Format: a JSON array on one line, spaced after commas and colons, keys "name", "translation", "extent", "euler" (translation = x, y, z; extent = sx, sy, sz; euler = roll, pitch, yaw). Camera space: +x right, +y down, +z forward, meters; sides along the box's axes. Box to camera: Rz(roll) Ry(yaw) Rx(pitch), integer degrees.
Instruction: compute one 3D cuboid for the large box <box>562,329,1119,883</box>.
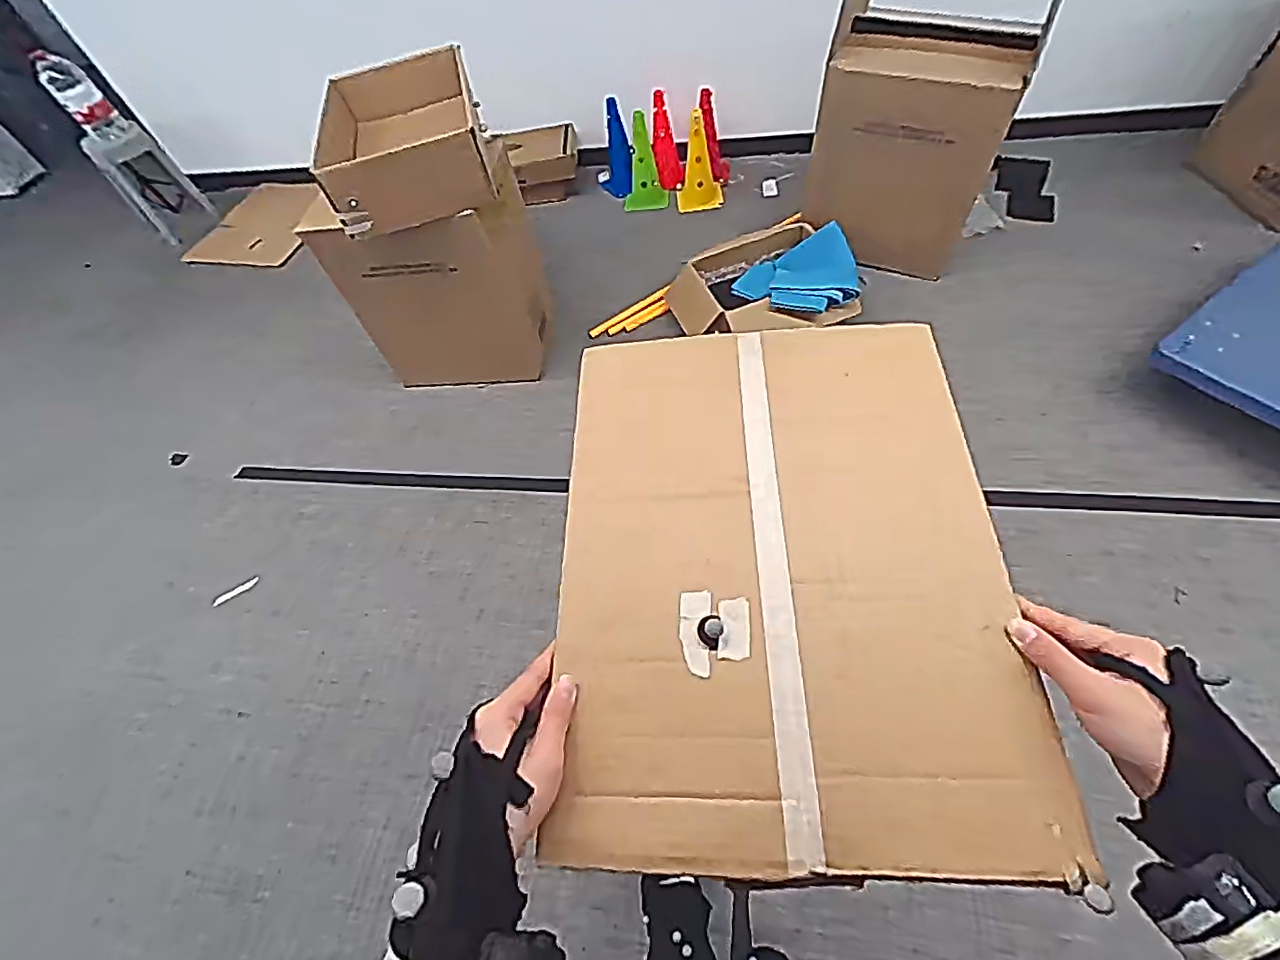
[{"name": "large box", "translation": [0.119, 0.117, 0.526], "extent": [0.320, 0.320, 0.408], "euler": [-3, 61, 6]}]
